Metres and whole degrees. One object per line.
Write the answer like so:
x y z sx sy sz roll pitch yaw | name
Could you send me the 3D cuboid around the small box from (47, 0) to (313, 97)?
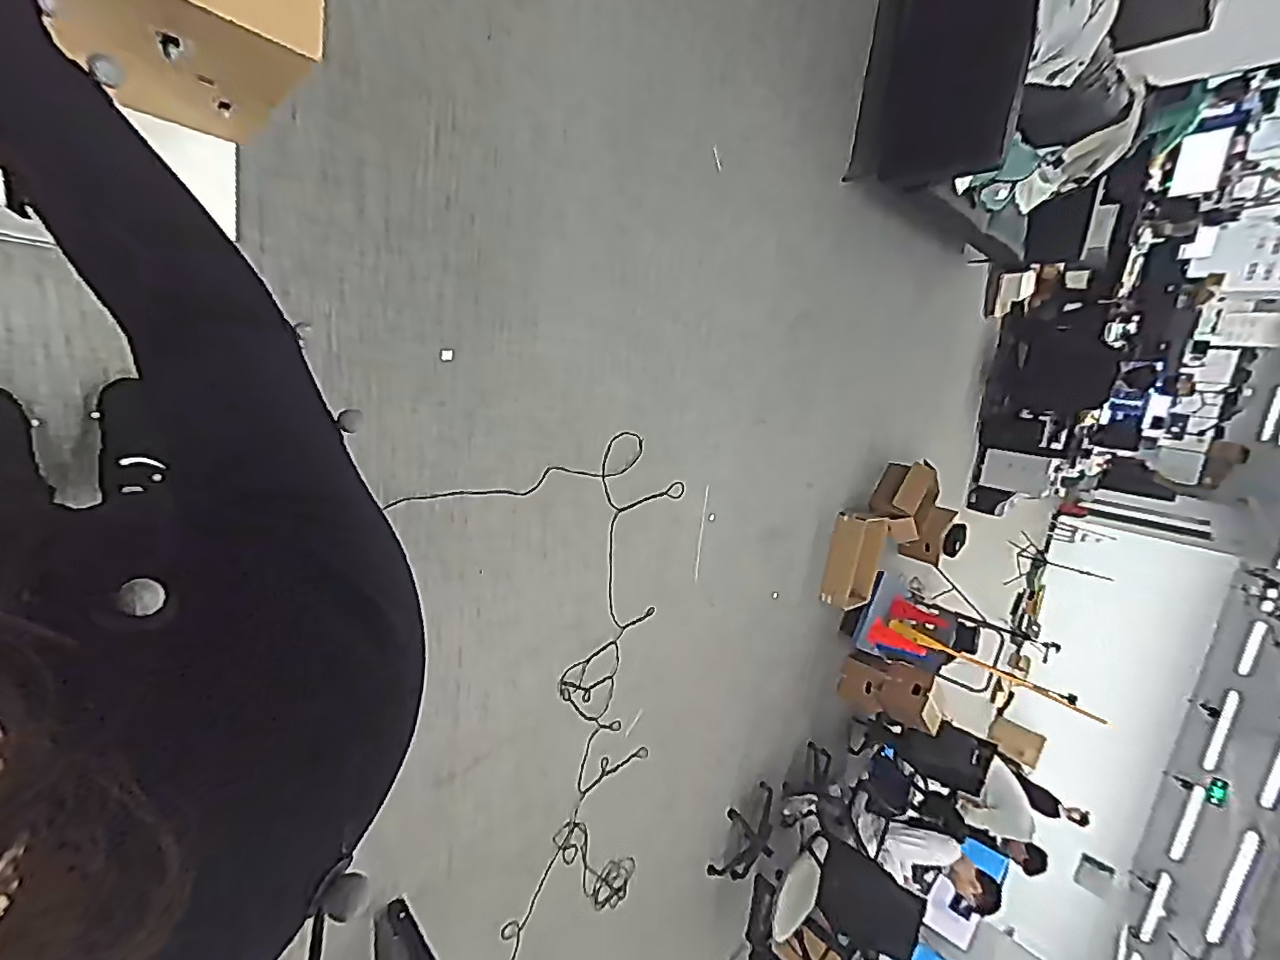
-0.368 -0.444 0.424 0.168 0.176 0.179 -1 104 -46 | small box
